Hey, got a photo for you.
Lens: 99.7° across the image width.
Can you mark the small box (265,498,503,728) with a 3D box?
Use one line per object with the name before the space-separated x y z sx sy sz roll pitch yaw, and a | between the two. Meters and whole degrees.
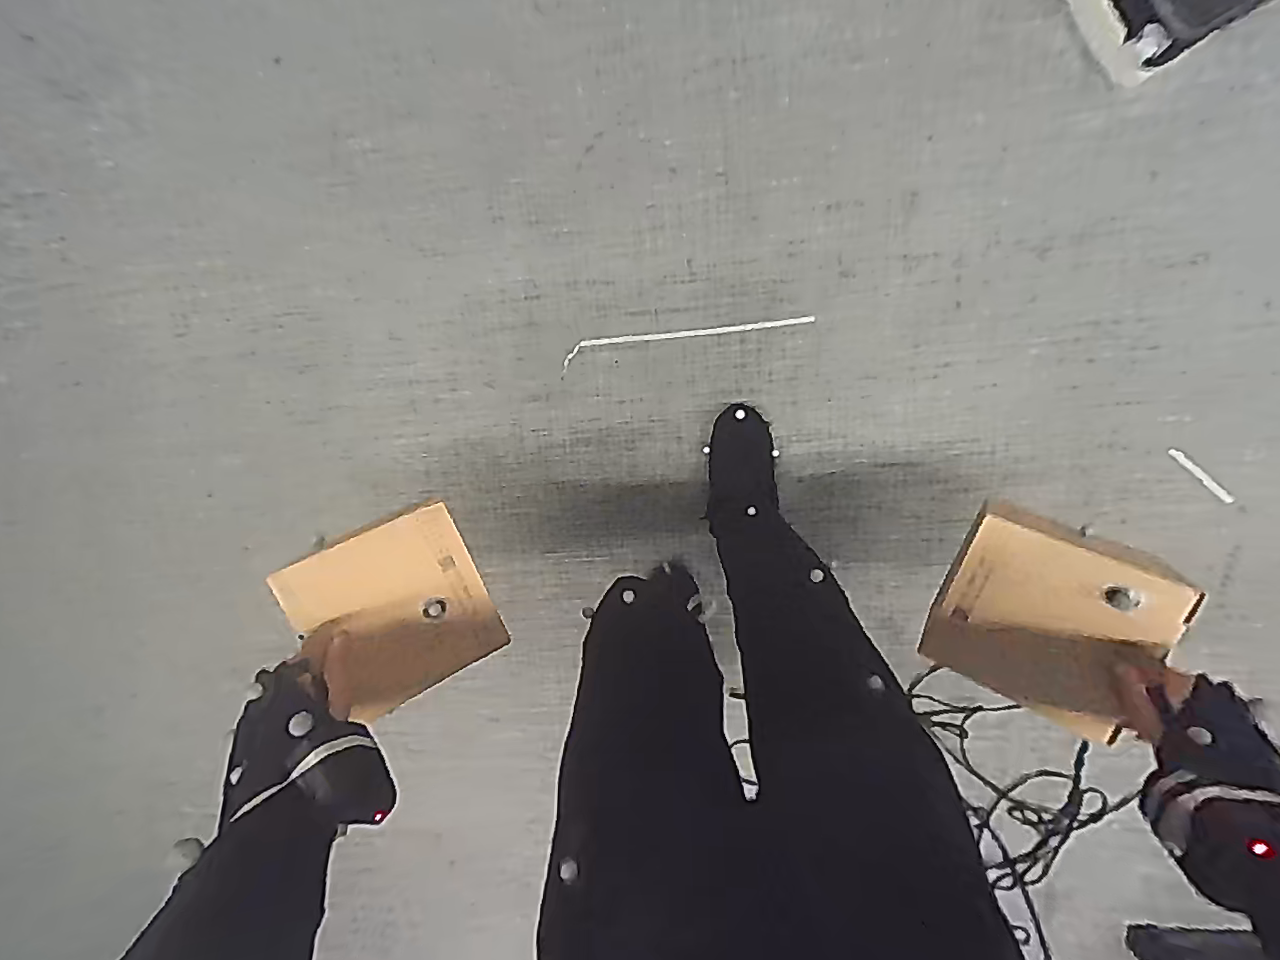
small box | -0.268 0.127 0.596 0.176 0.179 0.168 -27 99 -24
